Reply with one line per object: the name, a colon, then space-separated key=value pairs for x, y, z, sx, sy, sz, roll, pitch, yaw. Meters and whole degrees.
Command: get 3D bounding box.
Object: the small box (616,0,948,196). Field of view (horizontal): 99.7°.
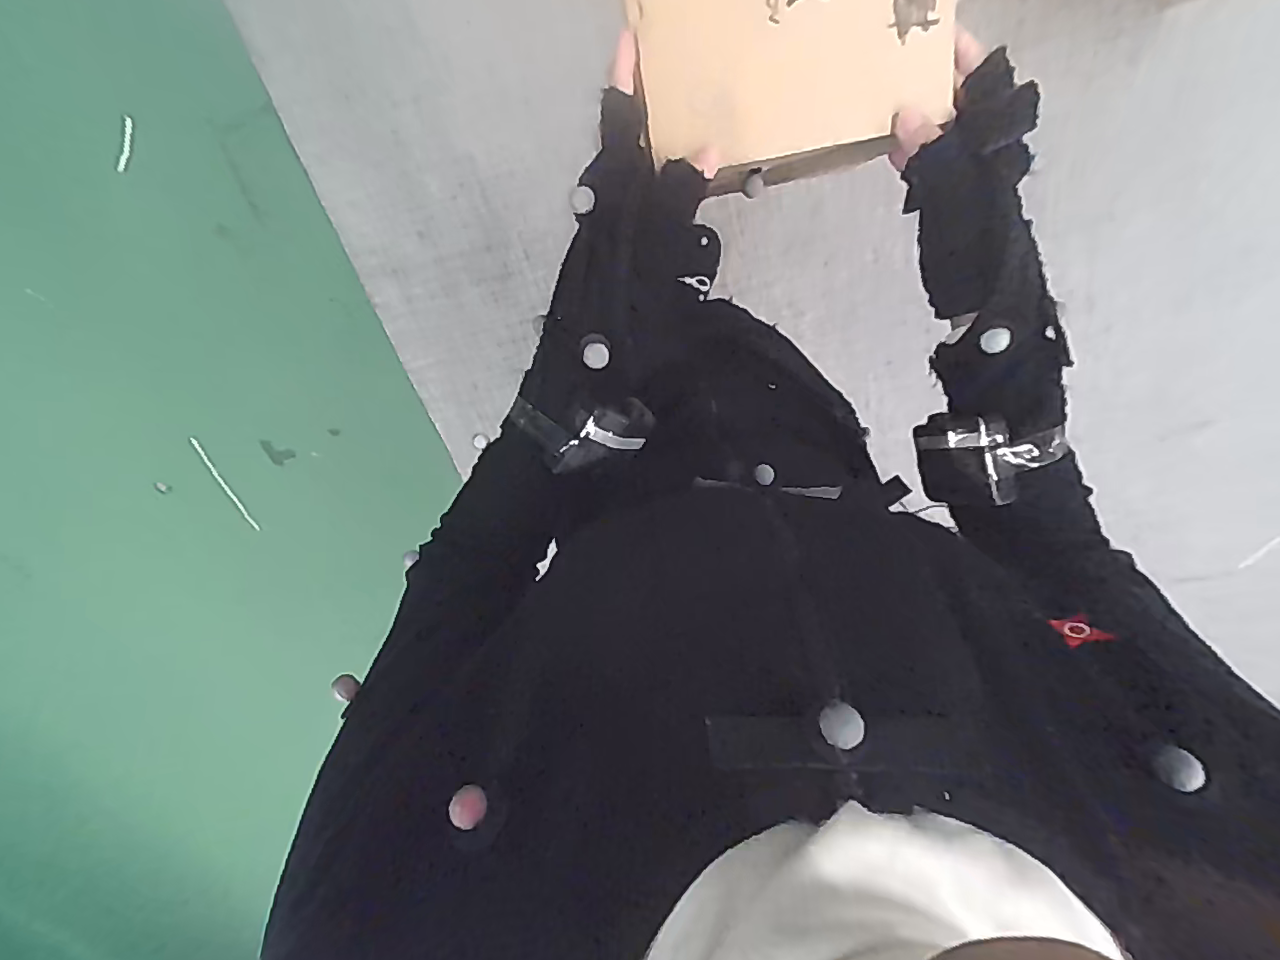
small box: x=0.076 y=-0.309 z=0.366 sx=0.179 sy=0.176 sz=0.168 roll=-12 pitch=110 yaw=4
